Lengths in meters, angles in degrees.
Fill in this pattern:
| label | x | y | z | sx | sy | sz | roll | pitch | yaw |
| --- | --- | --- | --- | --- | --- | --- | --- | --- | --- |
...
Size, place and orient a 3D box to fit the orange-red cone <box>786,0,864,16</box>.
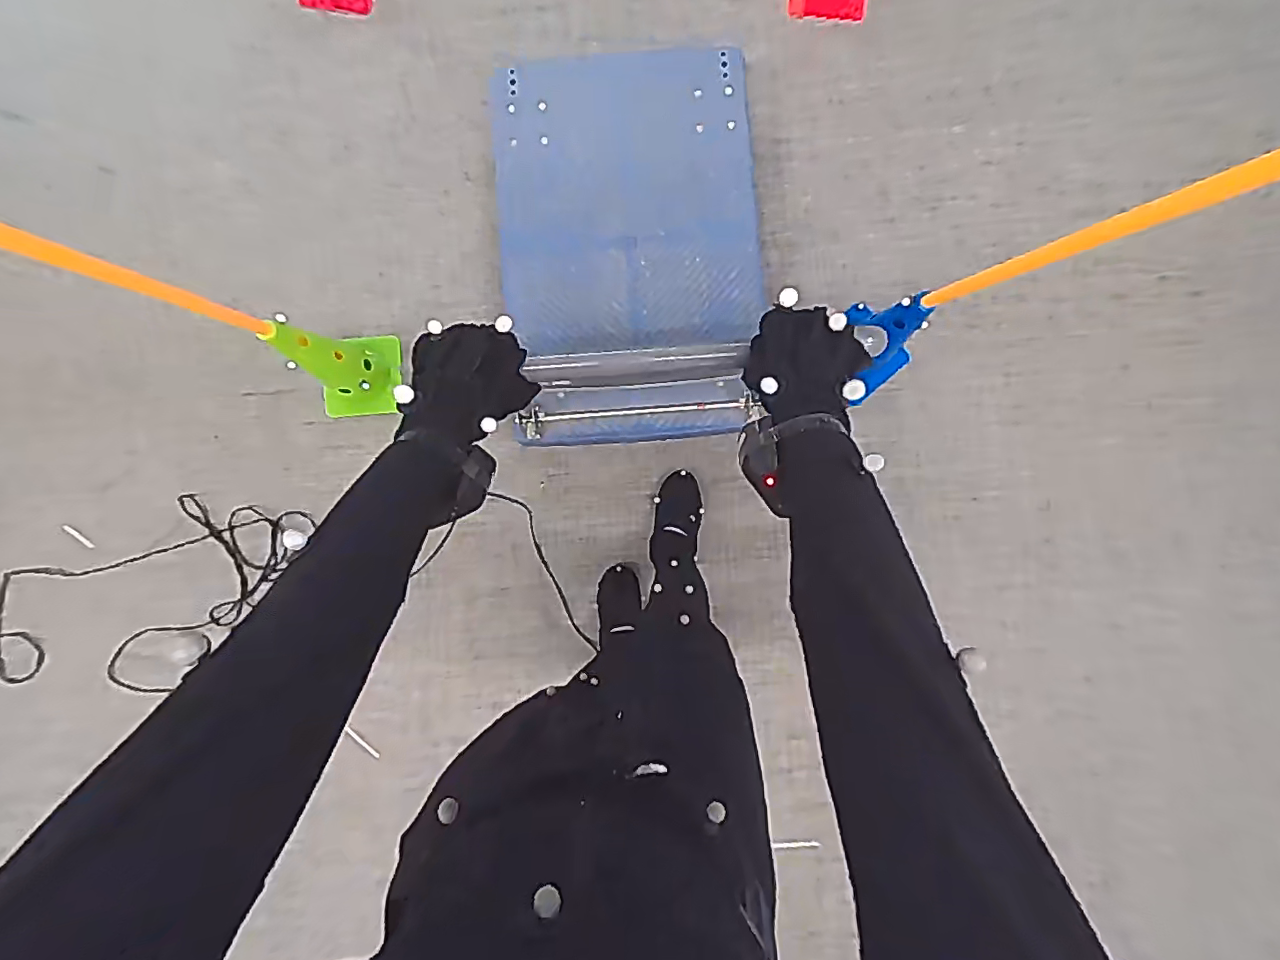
| label | x | y | z | sx | sy | sz | roll | pitch | yaw |
| --- | --- | --- | --- | --- | --- | --- | --- | --- | --- |
| orange-red cone | 0.481 | -1.310 | 1.231 | 0.198 | 0.360 | 0.199 | 7 | 88 | 2 |
